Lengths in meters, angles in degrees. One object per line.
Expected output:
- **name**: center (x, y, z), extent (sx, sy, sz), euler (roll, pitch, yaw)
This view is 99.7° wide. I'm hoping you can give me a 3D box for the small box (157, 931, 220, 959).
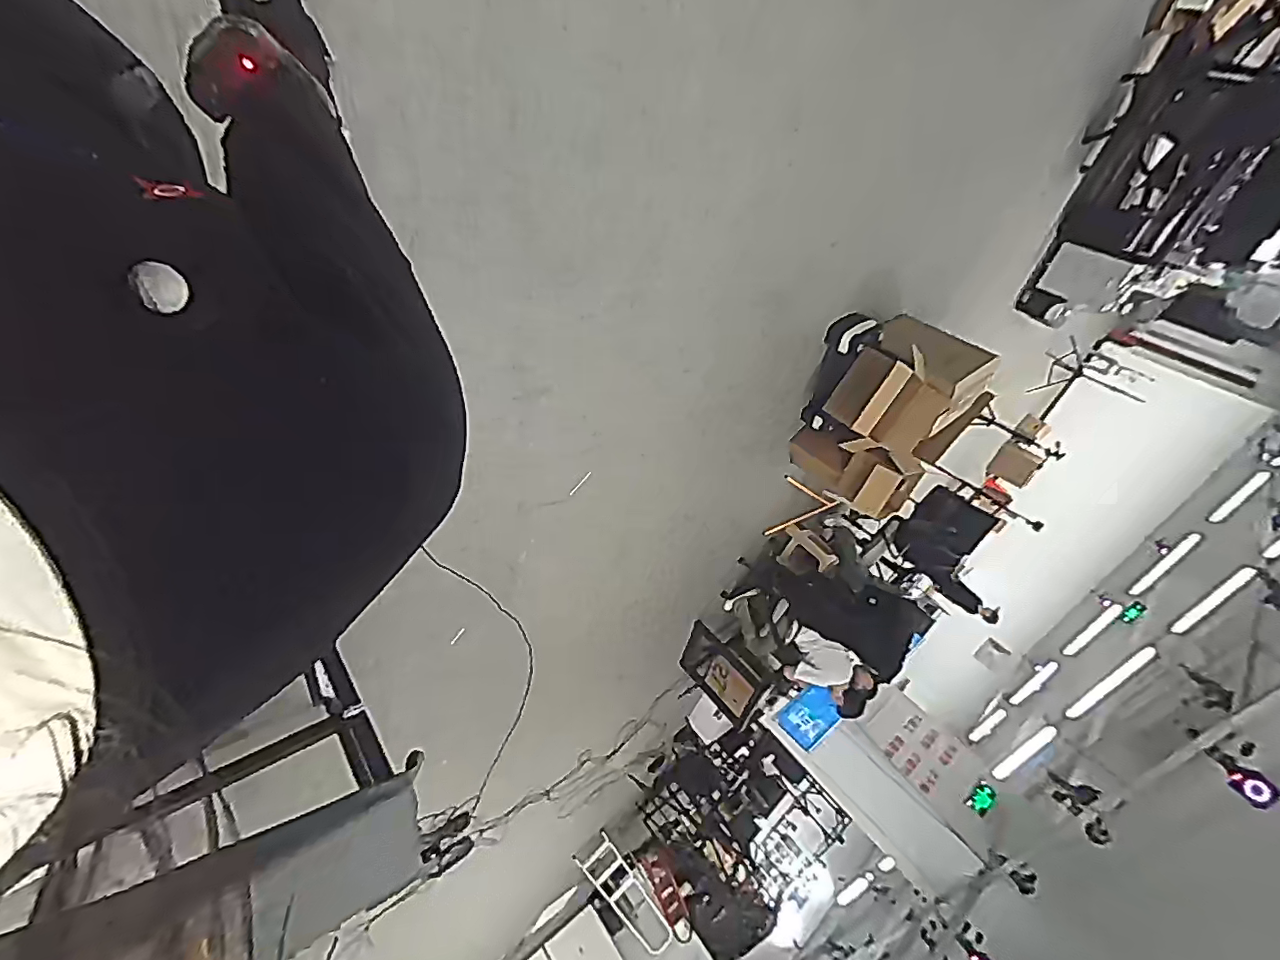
- **small box**: center (-1.001, 1.128, 1.150), extent (0.179, 0.176, 0.168), euler (-19, 138, -39)
